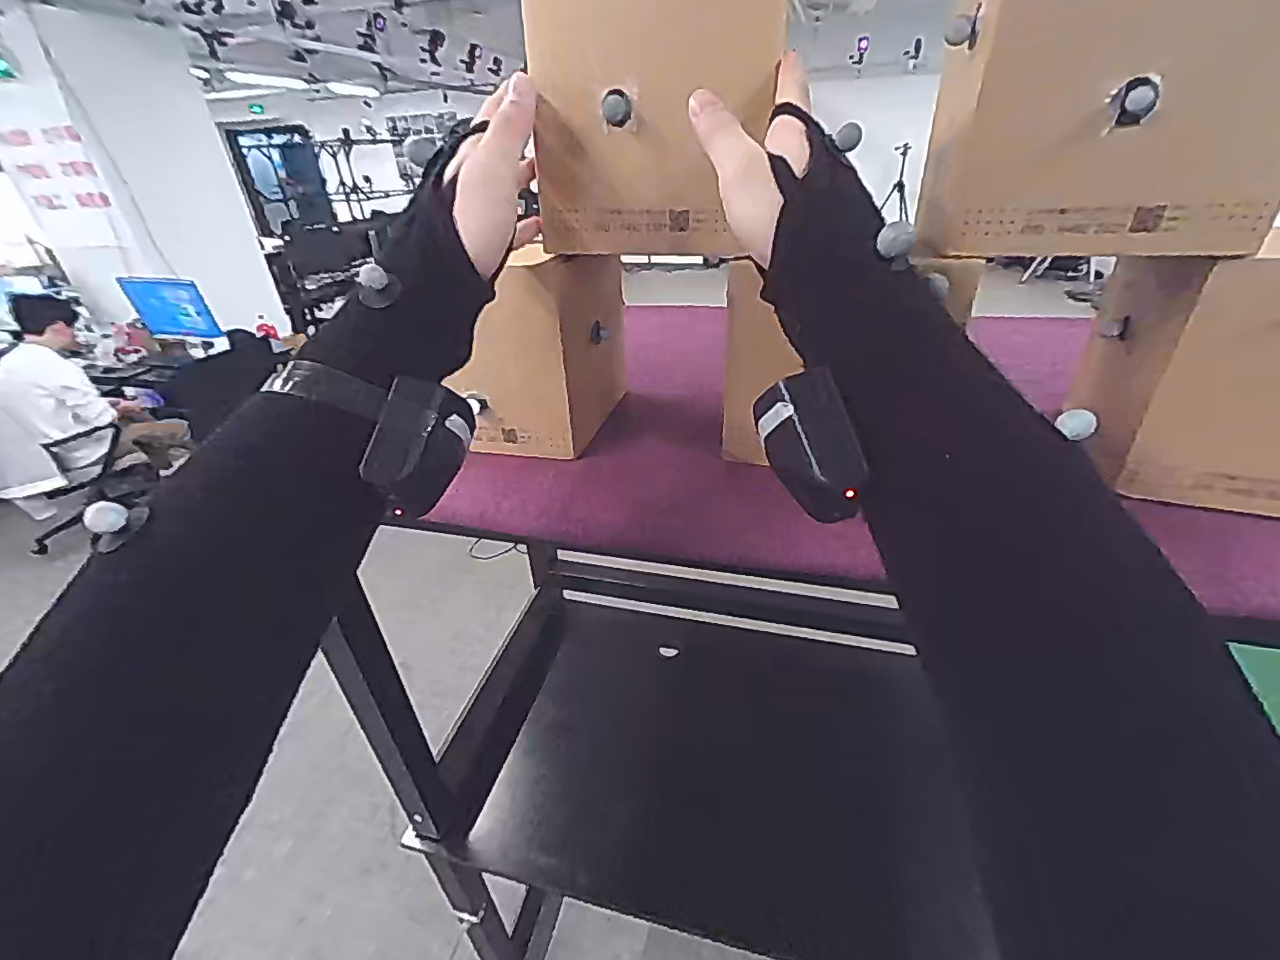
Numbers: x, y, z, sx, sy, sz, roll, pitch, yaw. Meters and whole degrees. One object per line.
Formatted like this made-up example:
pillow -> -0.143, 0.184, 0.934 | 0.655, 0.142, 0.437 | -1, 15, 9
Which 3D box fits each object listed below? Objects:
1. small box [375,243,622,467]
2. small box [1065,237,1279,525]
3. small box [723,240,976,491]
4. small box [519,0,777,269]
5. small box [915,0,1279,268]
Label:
small box -> -0.117, -0.131, 0.531 | 0.168, 0.176, 0.179 | 5, 32, 13
small box -> 0.450, -0.081, 0.399 | 0.168, 0.176, 0.179 | 10, 32, 23
small box -> 0.168, -0.111, 0.477 | 0.168, 0.176, 0.179 | 7, 32, 17
small box -> 0.020, -0.269, 0.437 | 0.168, 0.176, 0.179 | 3, 29, 9
small box -> 0.296, -0.242, 0.363 | 0.168, 0.176, 0.179 | 7, 31, 17
